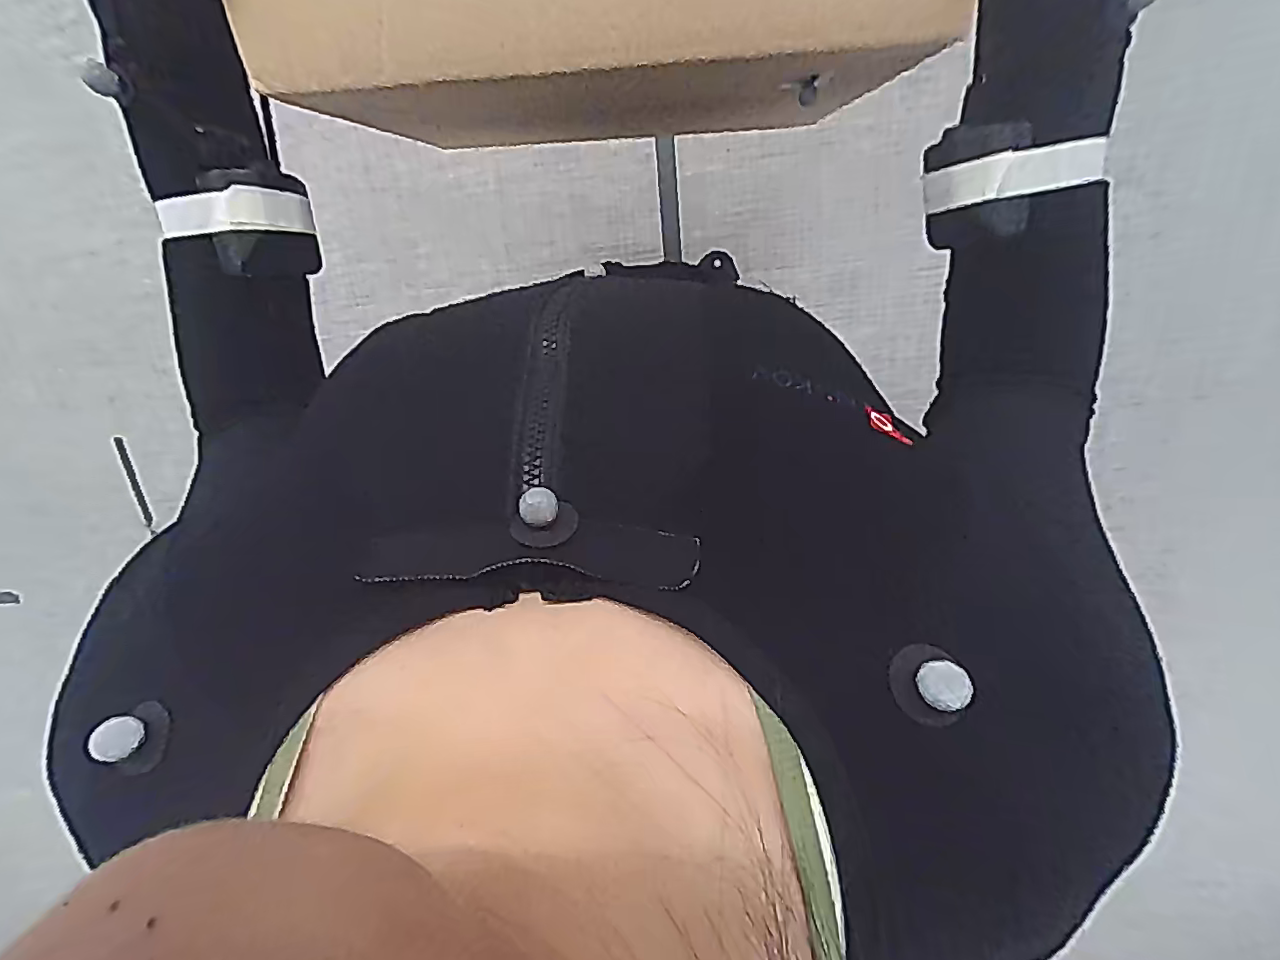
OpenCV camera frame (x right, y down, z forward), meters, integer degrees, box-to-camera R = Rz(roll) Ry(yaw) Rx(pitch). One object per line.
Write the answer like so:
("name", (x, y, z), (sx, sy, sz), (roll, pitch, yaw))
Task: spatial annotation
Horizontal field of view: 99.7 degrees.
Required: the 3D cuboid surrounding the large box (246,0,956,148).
("large box", (-0.027, -0.439, 0.382), (0.408, 0.320, 0.320), (-3, 116, 2))
